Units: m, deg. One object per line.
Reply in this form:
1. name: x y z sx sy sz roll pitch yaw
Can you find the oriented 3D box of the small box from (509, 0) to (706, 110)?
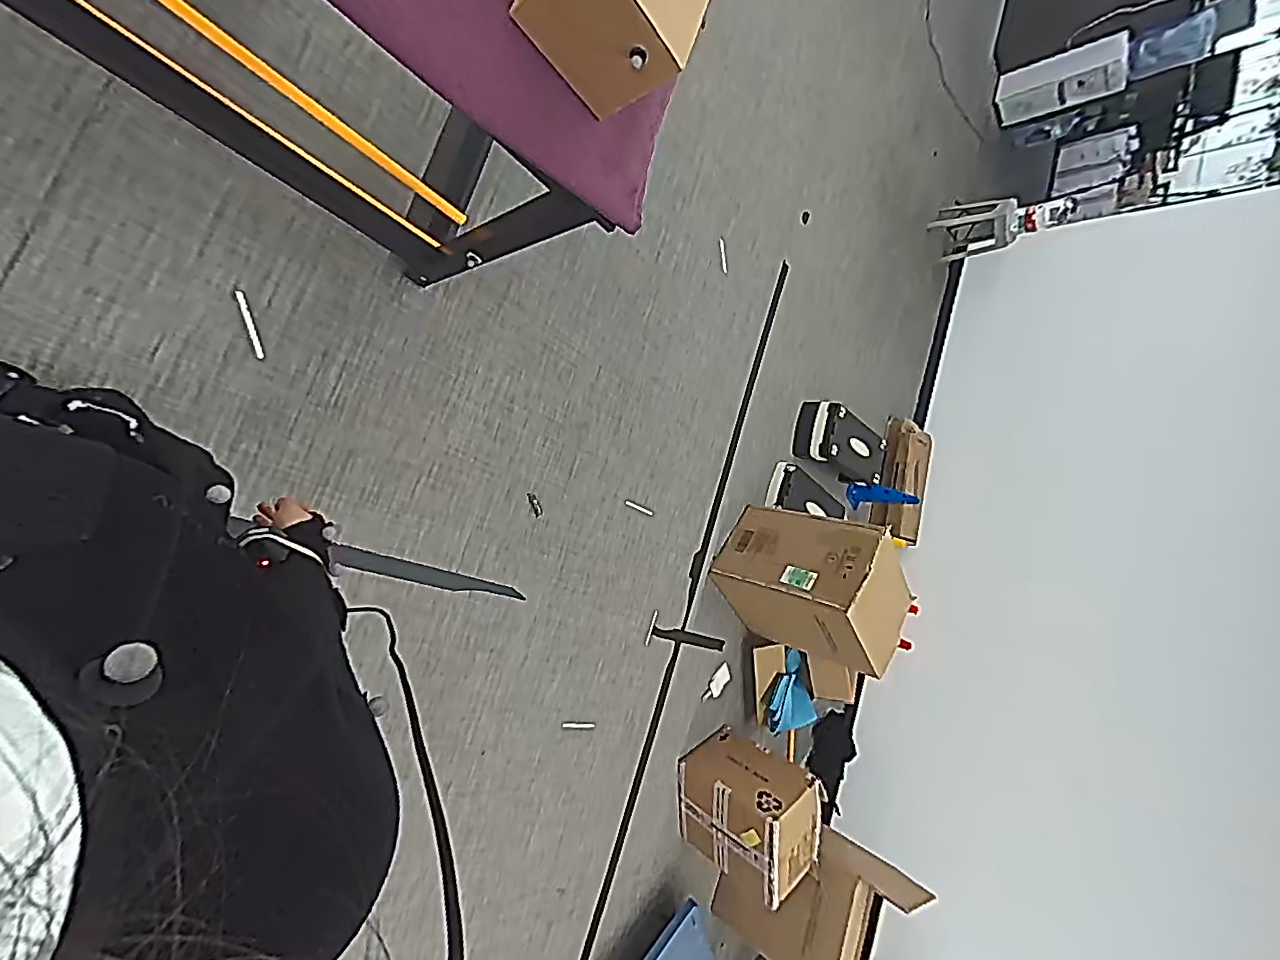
1. small box: -0.040 -0.640 0.722 0.179 0.176 0.168 29 73 -43
